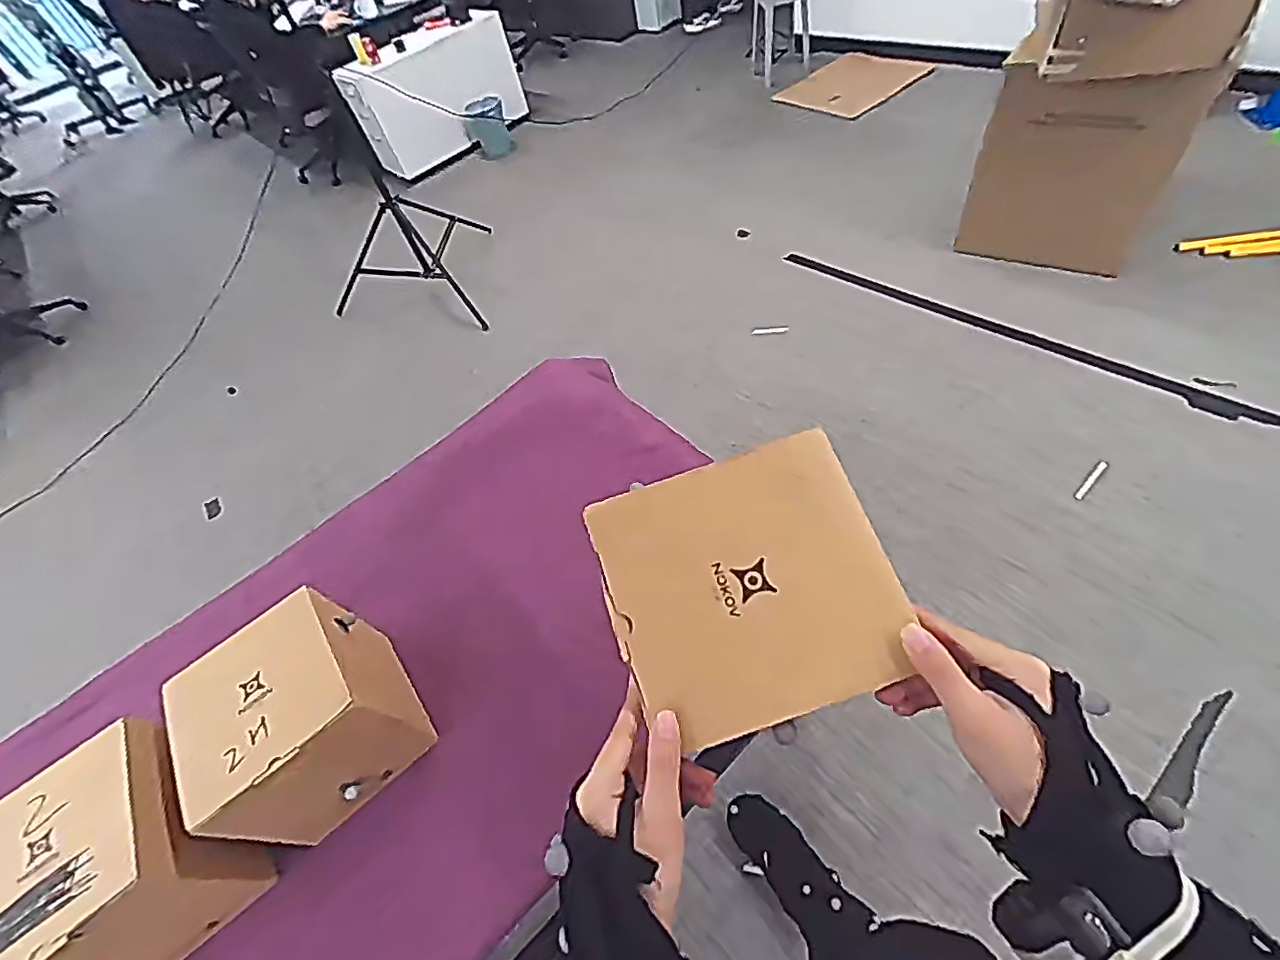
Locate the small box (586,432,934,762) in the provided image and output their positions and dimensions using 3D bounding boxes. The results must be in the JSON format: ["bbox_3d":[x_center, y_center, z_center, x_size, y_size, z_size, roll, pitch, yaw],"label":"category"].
[{"bbox_3d":[0.077,0.090,0.417,0.179,0.176,0.168,-20,70,2],"label":"small box"}]
